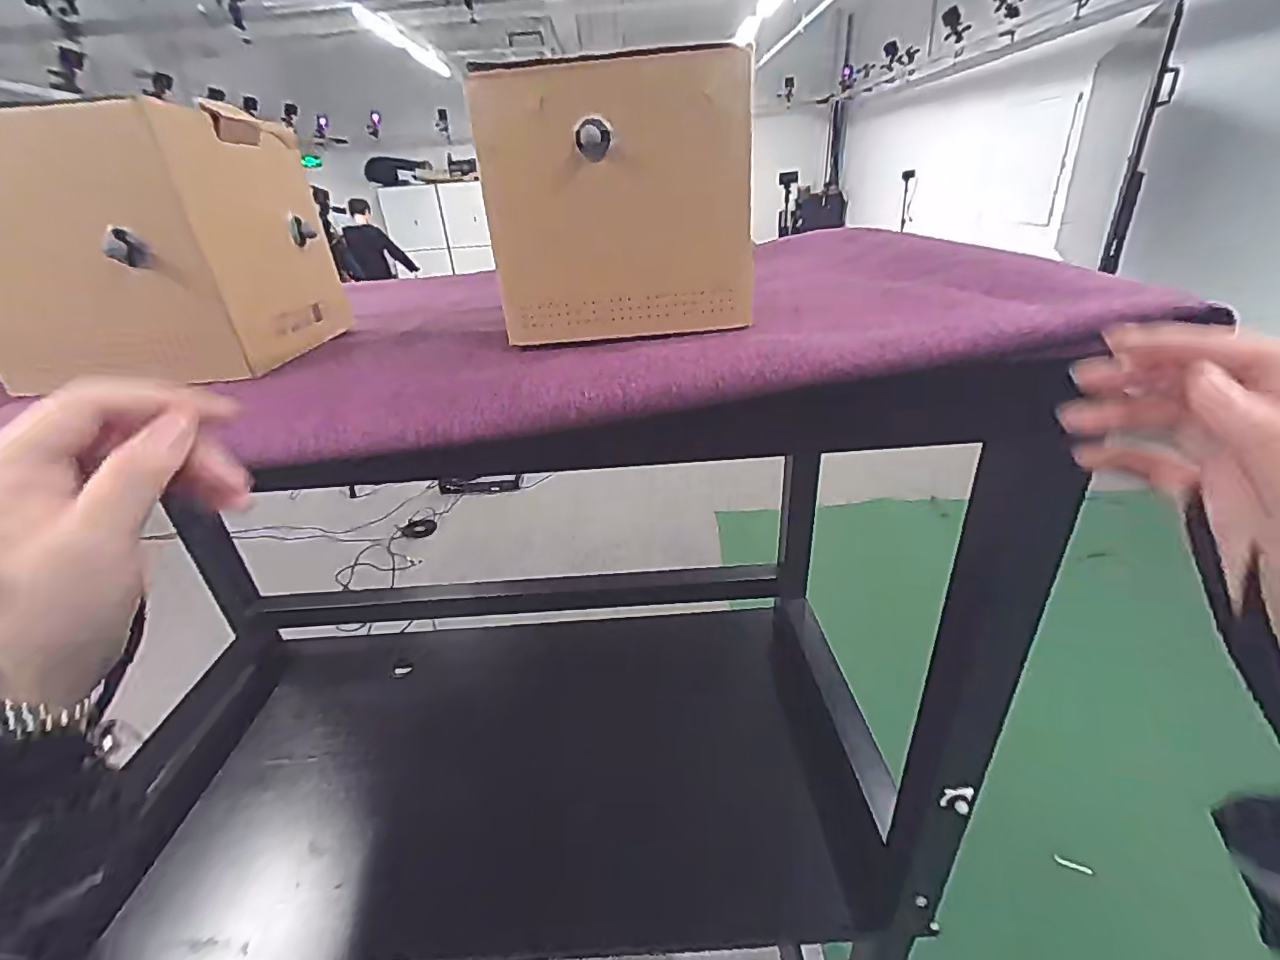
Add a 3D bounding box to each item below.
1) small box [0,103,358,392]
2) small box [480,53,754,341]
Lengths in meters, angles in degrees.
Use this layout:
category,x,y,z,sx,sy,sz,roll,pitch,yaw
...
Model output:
category,x,y,z,sx,sy,sz,roll,pitch,yaw
small box,-0.355,-0.176,0.421,0.179,0.176,0.168,-5,27,0
small box,-0.008,-0.212,0.438,0.179,0.176,0.168,-3,25,2
